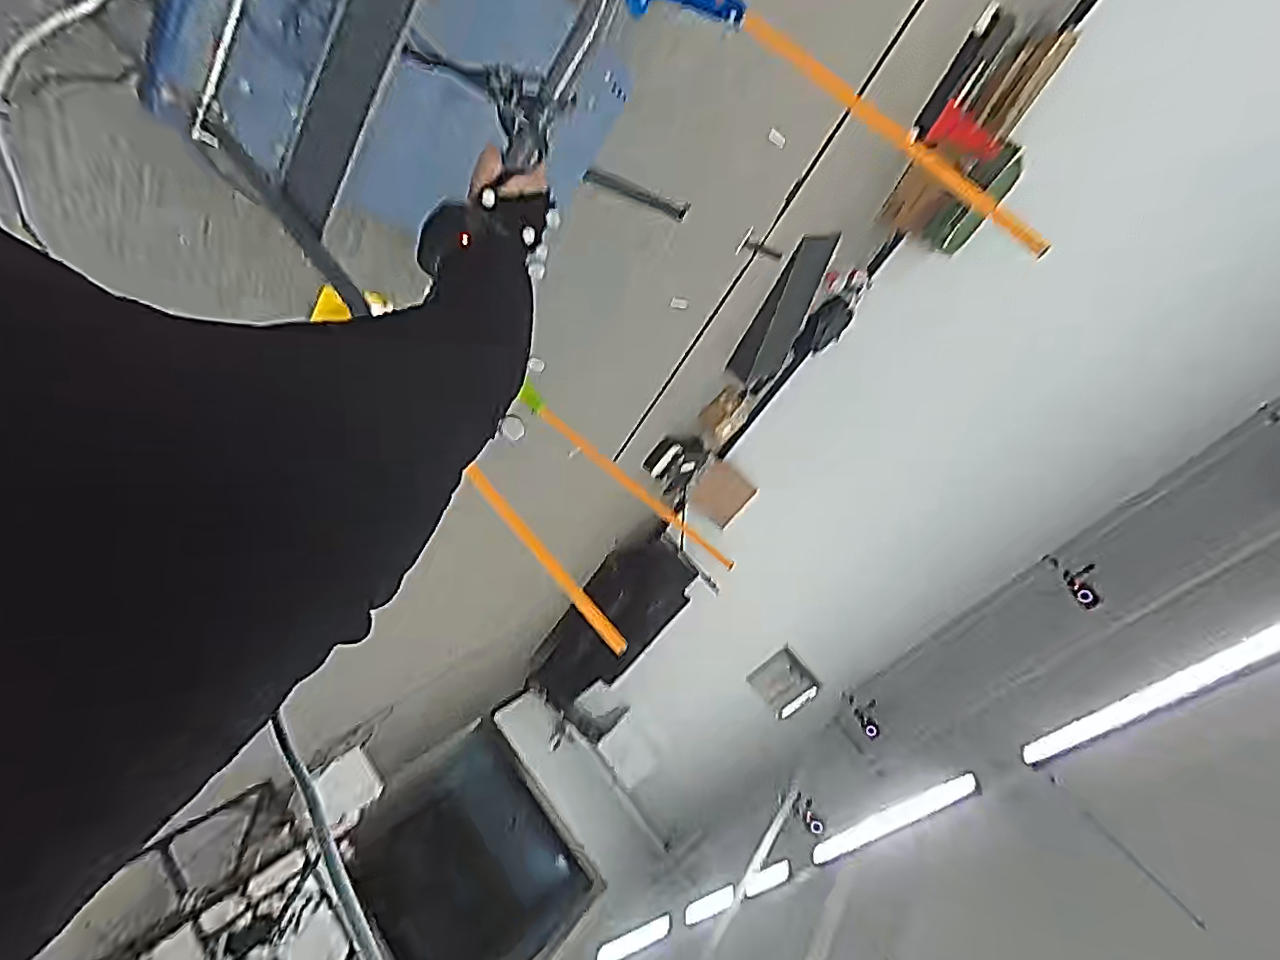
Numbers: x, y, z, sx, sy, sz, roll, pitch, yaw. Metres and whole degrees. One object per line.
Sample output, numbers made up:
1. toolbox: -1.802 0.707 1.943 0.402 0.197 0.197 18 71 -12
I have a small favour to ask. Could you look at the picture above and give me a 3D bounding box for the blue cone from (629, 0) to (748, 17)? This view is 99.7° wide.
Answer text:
1. blue cone: 0.114 -1.178 1.263 0.193 0.380 0.192 -48 161 17
